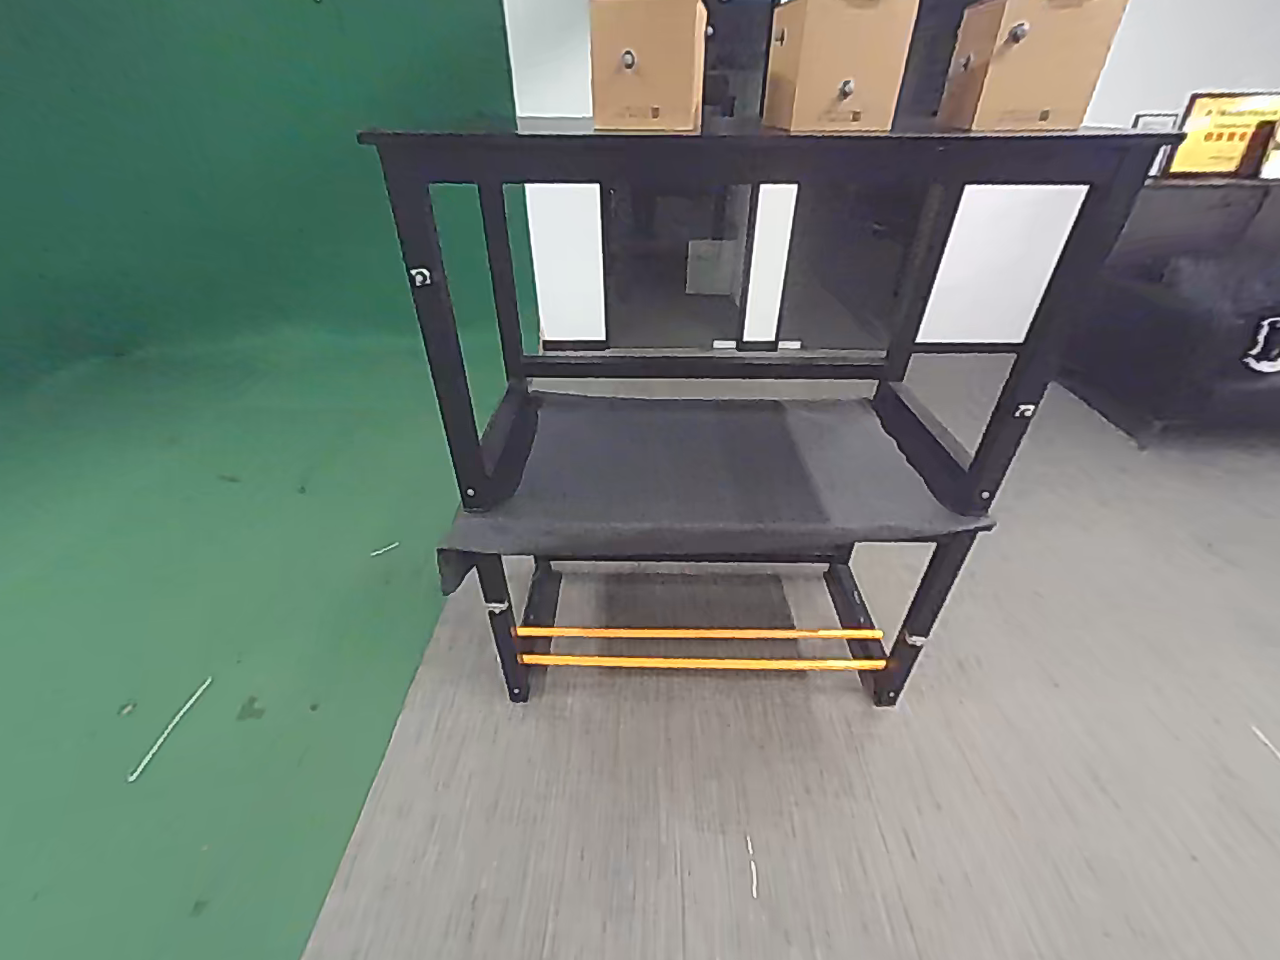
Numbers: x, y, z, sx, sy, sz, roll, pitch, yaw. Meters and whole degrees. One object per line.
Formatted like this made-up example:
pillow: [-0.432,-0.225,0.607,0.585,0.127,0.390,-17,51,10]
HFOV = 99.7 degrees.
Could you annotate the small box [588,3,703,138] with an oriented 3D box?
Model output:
small box: [0.015,-0.680,0.913,0.168,0.176,0.179,5,35,7]

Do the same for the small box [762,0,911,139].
small box: [0.309,-0.670,0.894,0.168,0.176,0.179,-3,35,-3]
